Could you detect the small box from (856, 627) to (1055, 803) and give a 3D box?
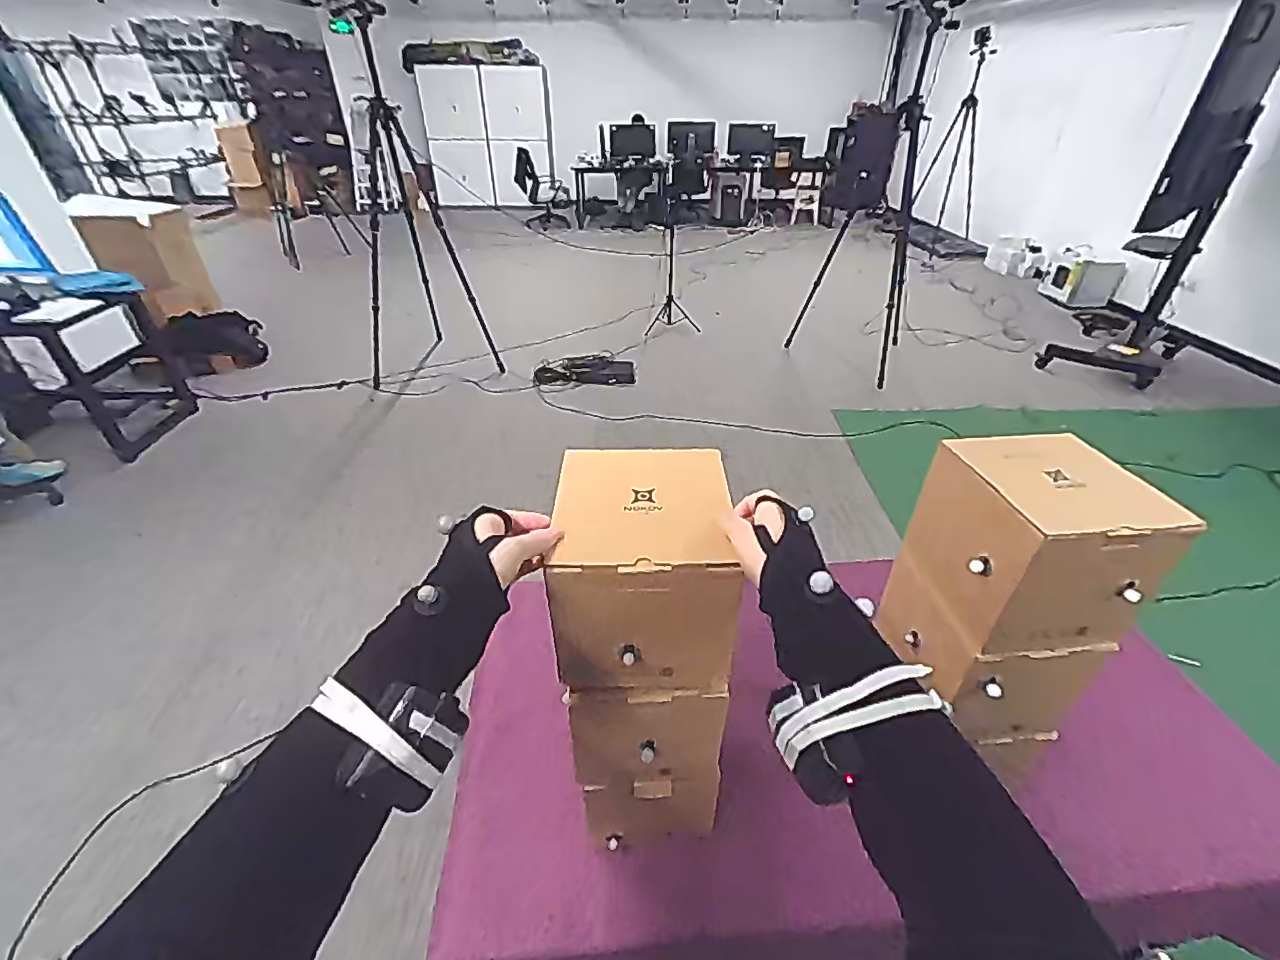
[{"bbox_3d":[0.435,0.337,0.786,0.168,0.176,0.179,-2,36,-1],"label":"small box"}]

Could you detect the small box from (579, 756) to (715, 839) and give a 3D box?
[{"bbox_3d":[0.004,0.368,0.747,0.168,0.176,0.179,-3,35,-5],"label":"small box"}]

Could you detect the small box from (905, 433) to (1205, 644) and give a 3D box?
[{"bbox_3d":[0.431,0.066,0.602,0.168,0.176,0.179,-3,35,-4],"label":"small box"}]

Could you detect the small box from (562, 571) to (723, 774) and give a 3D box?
[{"bbox_3d":[0.000,0.234,0.652,0.168,0.176,0.179,-2,36,-3],"label":"small box"}]
